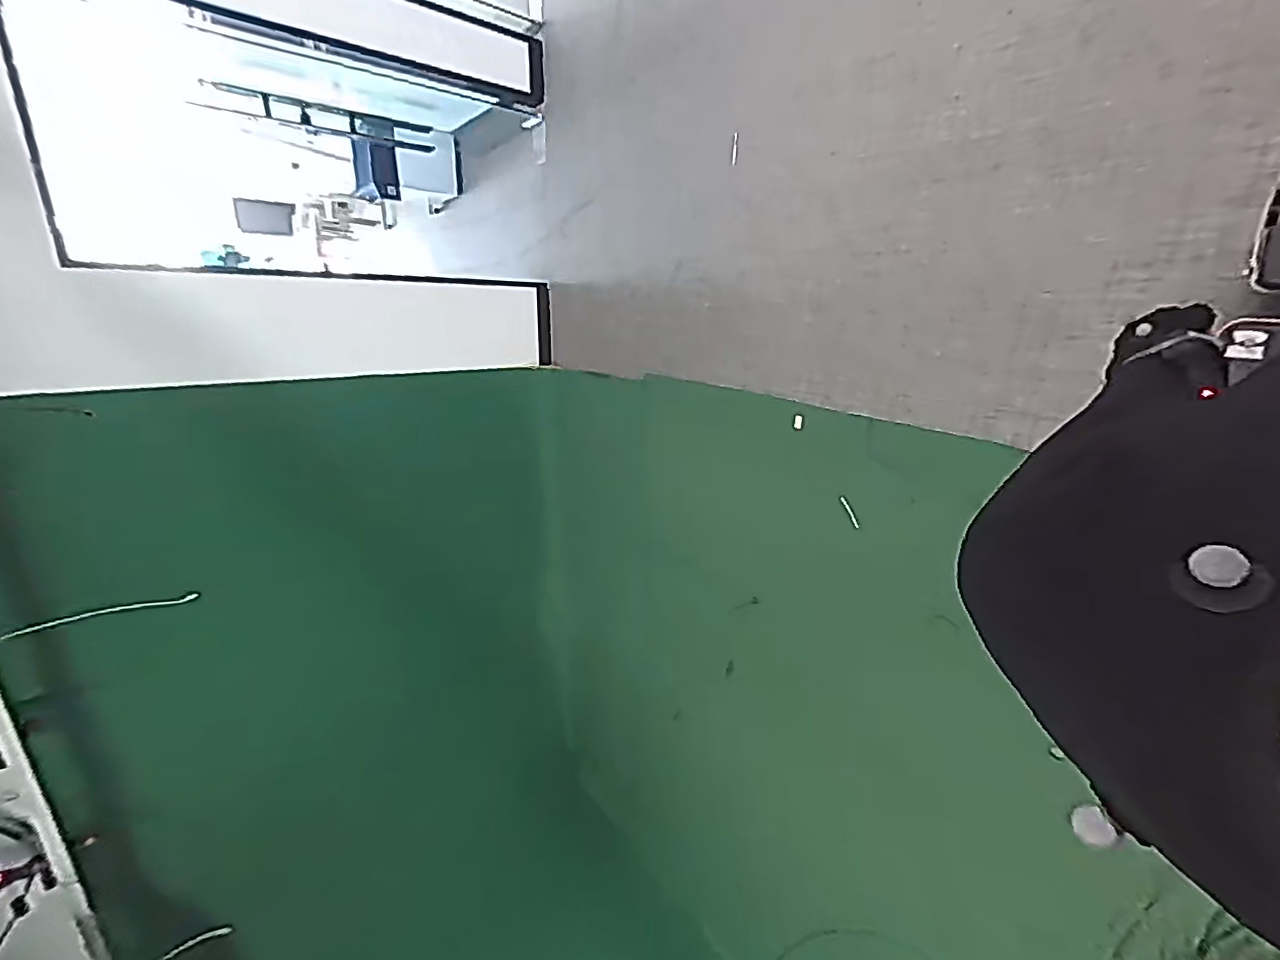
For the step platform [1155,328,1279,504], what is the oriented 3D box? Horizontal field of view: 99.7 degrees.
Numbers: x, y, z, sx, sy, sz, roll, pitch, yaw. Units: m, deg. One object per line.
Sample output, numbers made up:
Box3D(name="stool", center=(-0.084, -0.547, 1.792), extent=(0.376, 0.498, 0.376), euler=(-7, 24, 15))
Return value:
Box3D(name="step platform", center=(1.184, -0.044, 0.728), extent=(0.684, 0.204, 0.286), euler=(22, 116, 47))
